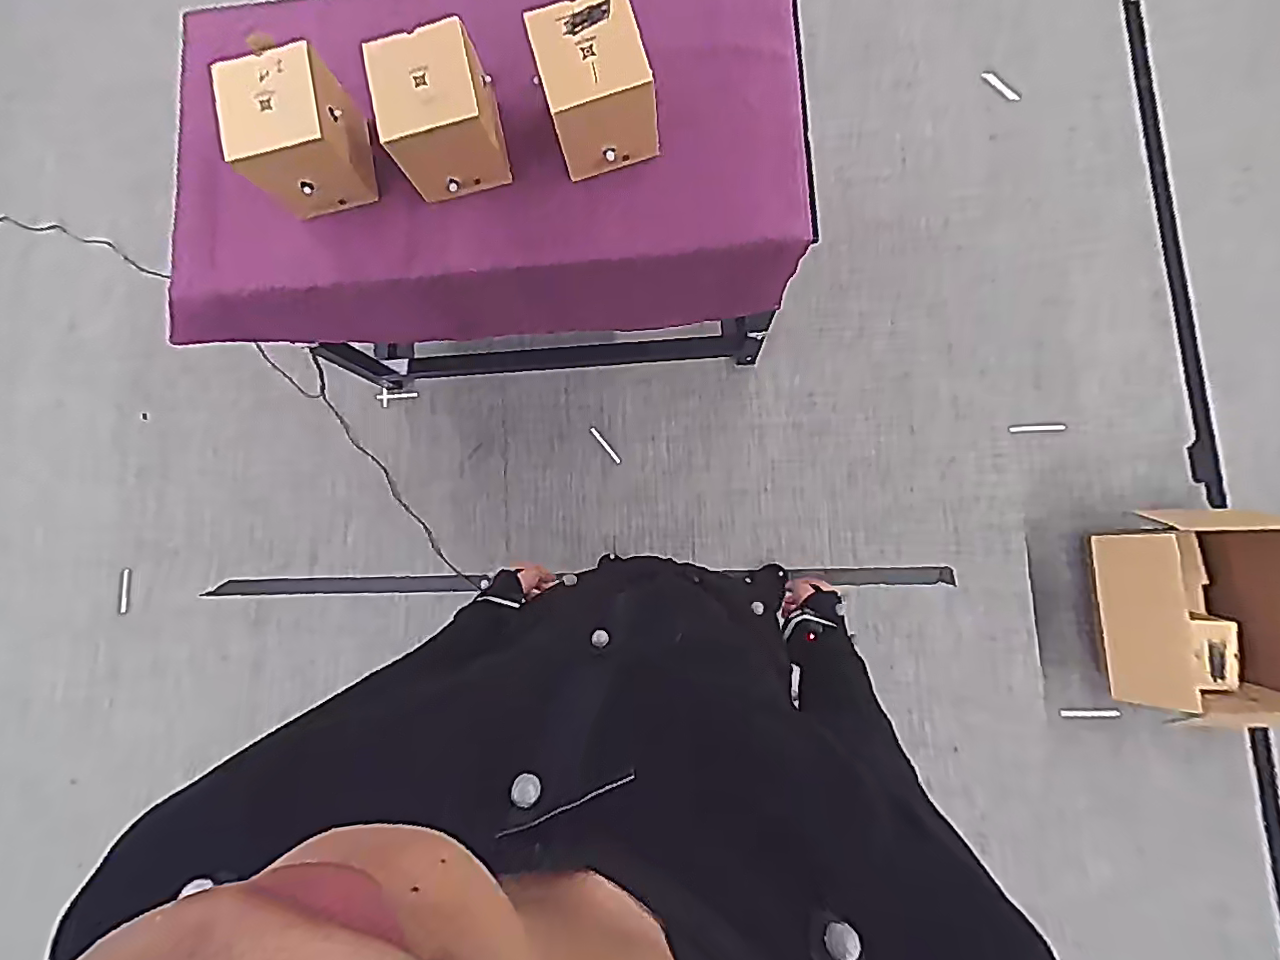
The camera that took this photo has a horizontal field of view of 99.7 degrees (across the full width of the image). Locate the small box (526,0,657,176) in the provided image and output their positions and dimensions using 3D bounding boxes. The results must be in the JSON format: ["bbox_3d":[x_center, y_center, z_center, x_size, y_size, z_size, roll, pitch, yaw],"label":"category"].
[{"bbox_3d":[-0.073,-0.657,0.905,0.168,0.176,0.179,-16,84,3],"label":"small box"}]

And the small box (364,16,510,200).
[{"bbox_3d":[-0.338,-0.622,0.924,0.168,0.176,0.179,-13,83,4],"label":"small box"}]

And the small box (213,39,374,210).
[{"bbox_3d":[-0.589,-0.599,0.940,0.168,0.176,0.179,-12,83,3],"label":"small box"}]
